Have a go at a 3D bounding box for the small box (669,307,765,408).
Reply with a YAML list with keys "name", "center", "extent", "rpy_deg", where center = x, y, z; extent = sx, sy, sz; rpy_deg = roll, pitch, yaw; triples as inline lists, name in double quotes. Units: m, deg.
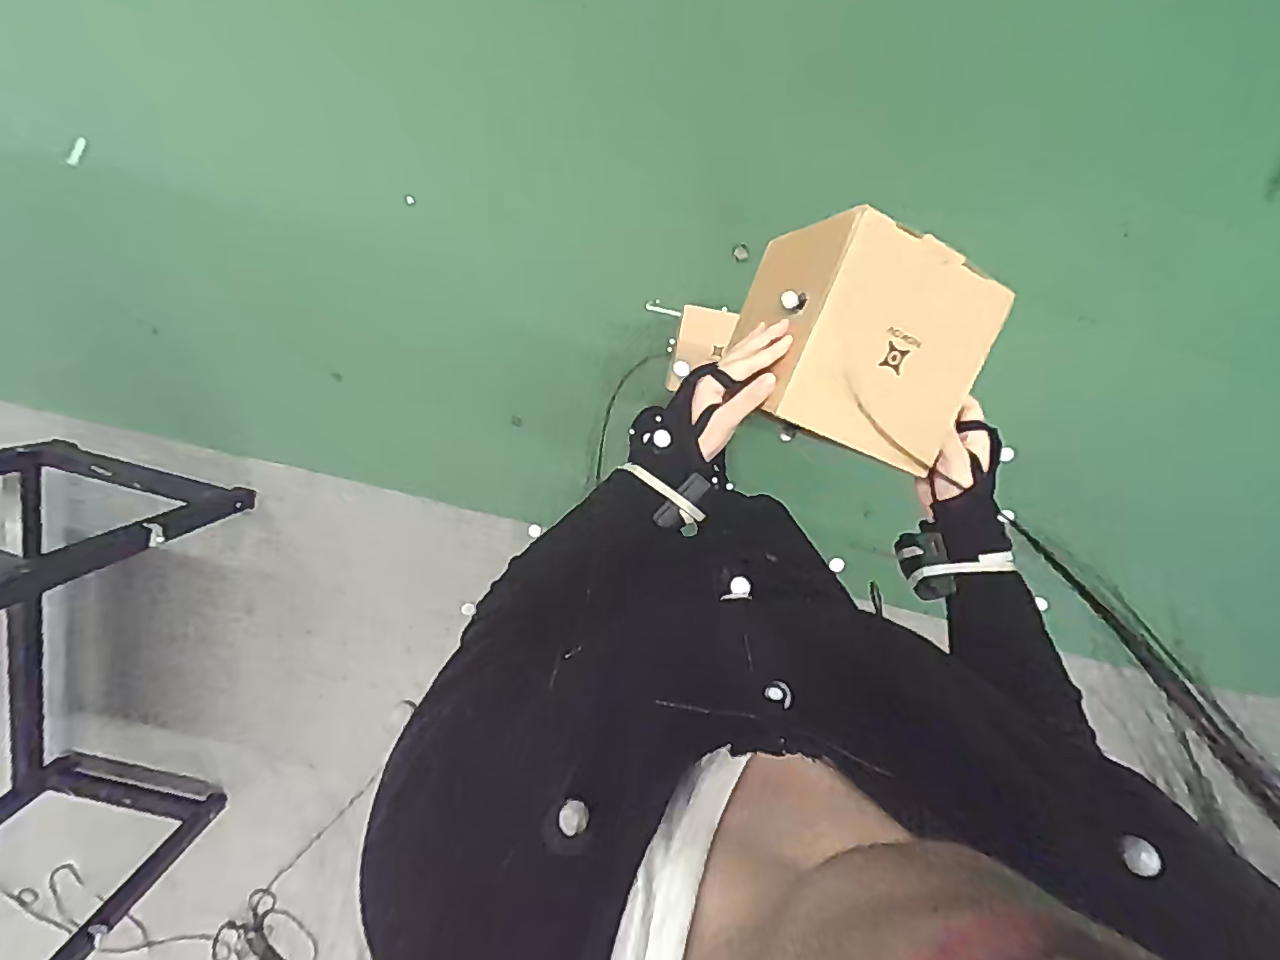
- name: "small box"
  center: [0.156, -0.263, 1.170]
  extent: [0.168, 0.176, 0.179]
  rpy_deg: [11, 103, 0]
